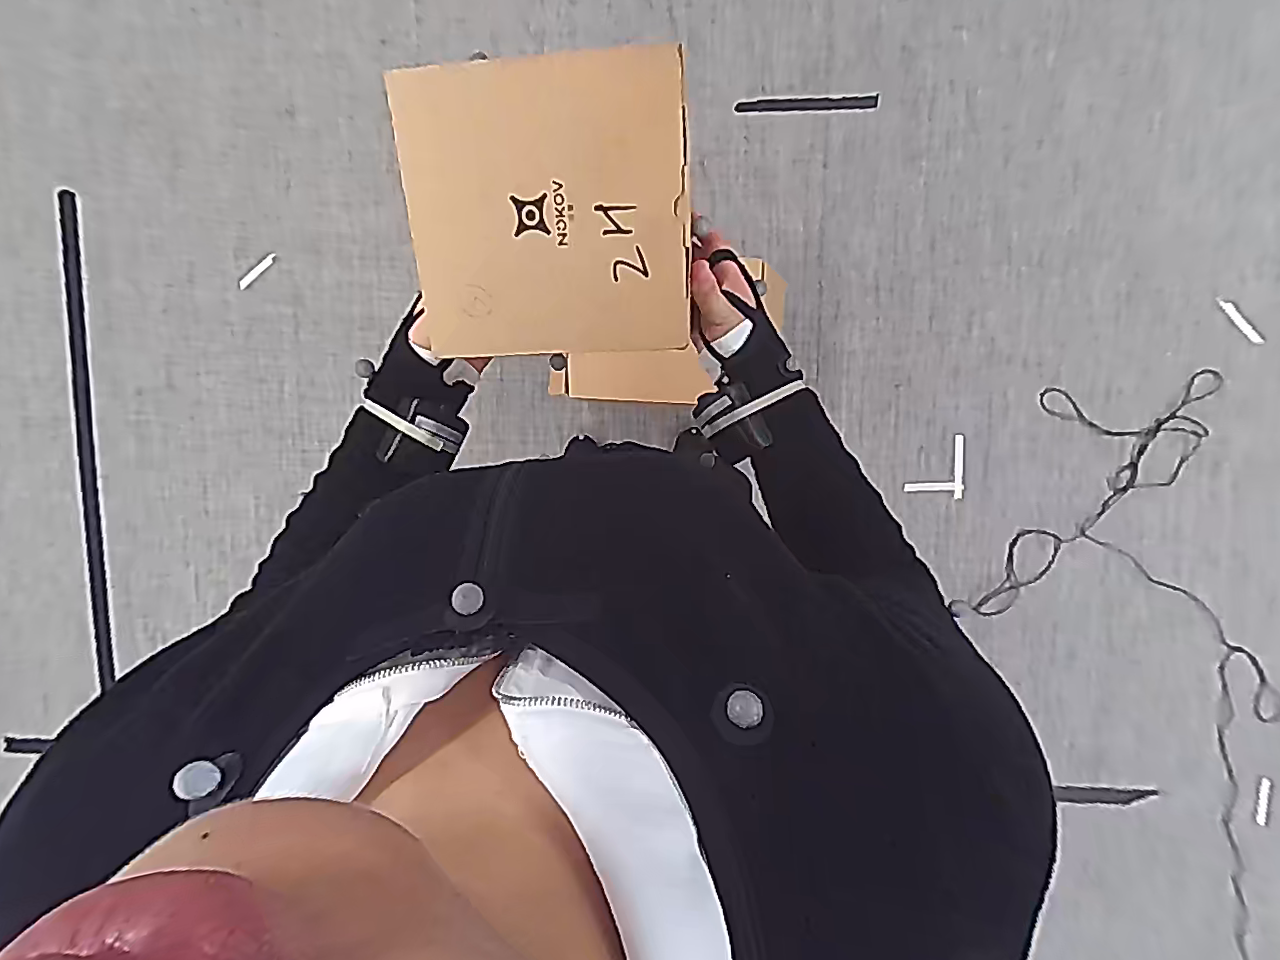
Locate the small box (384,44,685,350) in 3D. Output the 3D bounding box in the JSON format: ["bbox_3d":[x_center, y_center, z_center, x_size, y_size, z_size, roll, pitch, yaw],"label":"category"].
[{"bbox_3d":[-0.055,-0.190,0.408,0.179,0.176,0.168,-1,109,4],"label":"small box"}]
